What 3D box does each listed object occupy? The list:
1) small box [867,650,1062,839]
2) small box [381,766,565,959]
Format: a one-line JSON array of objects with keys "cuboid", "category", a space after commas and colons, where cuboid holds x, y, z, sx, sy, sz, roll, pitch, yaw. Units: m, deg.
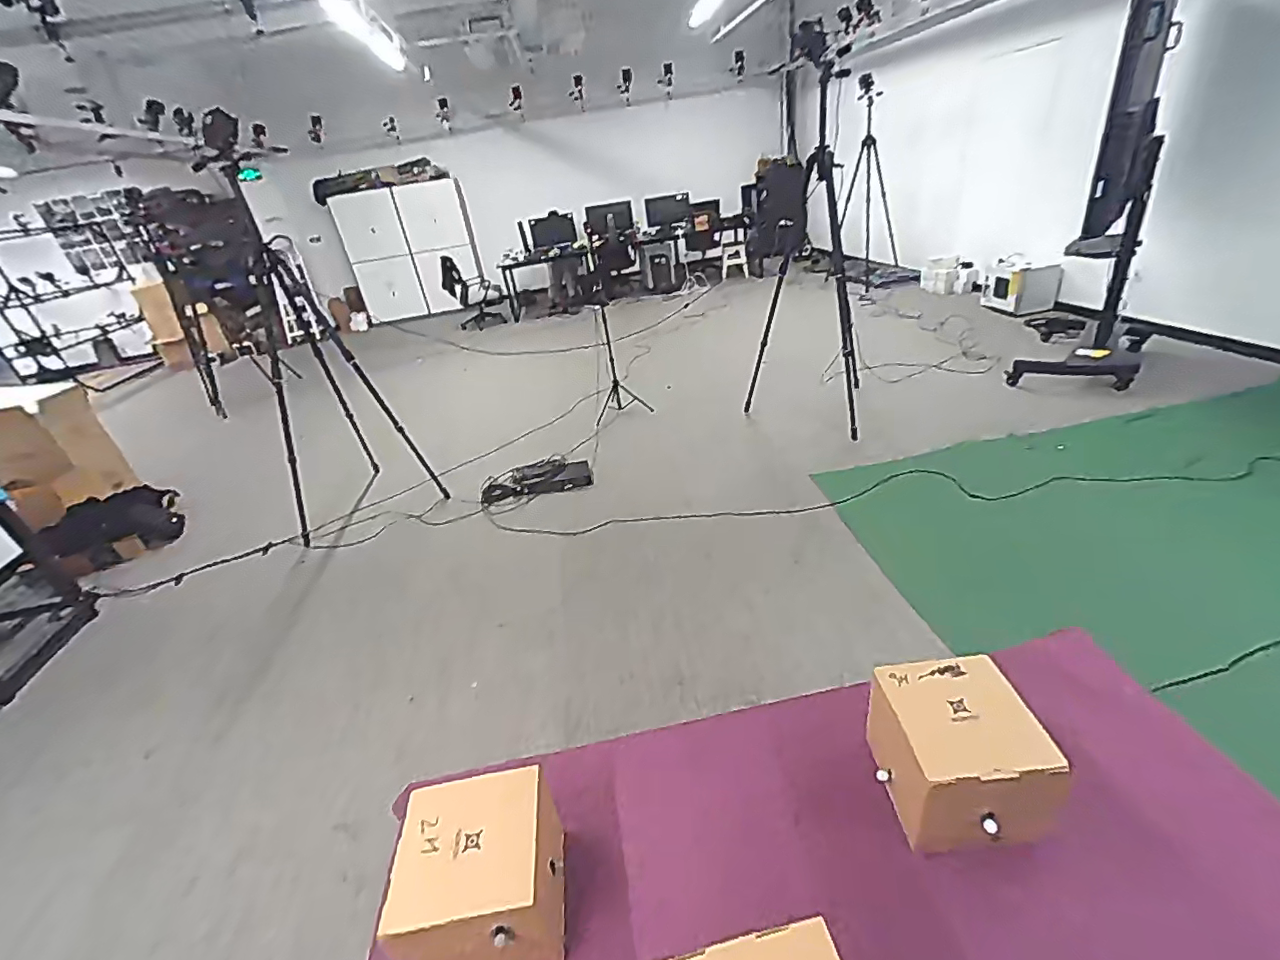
[{"cuboid": [0.430, 0.369, 0.751, 0.168, 0.176, 0.179, -8, 30, 4], "category": "small box"}, {"cuboid": [-0.197, 0.512, 0.703, 0.179, 0.176, 0.168, -11, 29, -2], "category": "small box"}]
